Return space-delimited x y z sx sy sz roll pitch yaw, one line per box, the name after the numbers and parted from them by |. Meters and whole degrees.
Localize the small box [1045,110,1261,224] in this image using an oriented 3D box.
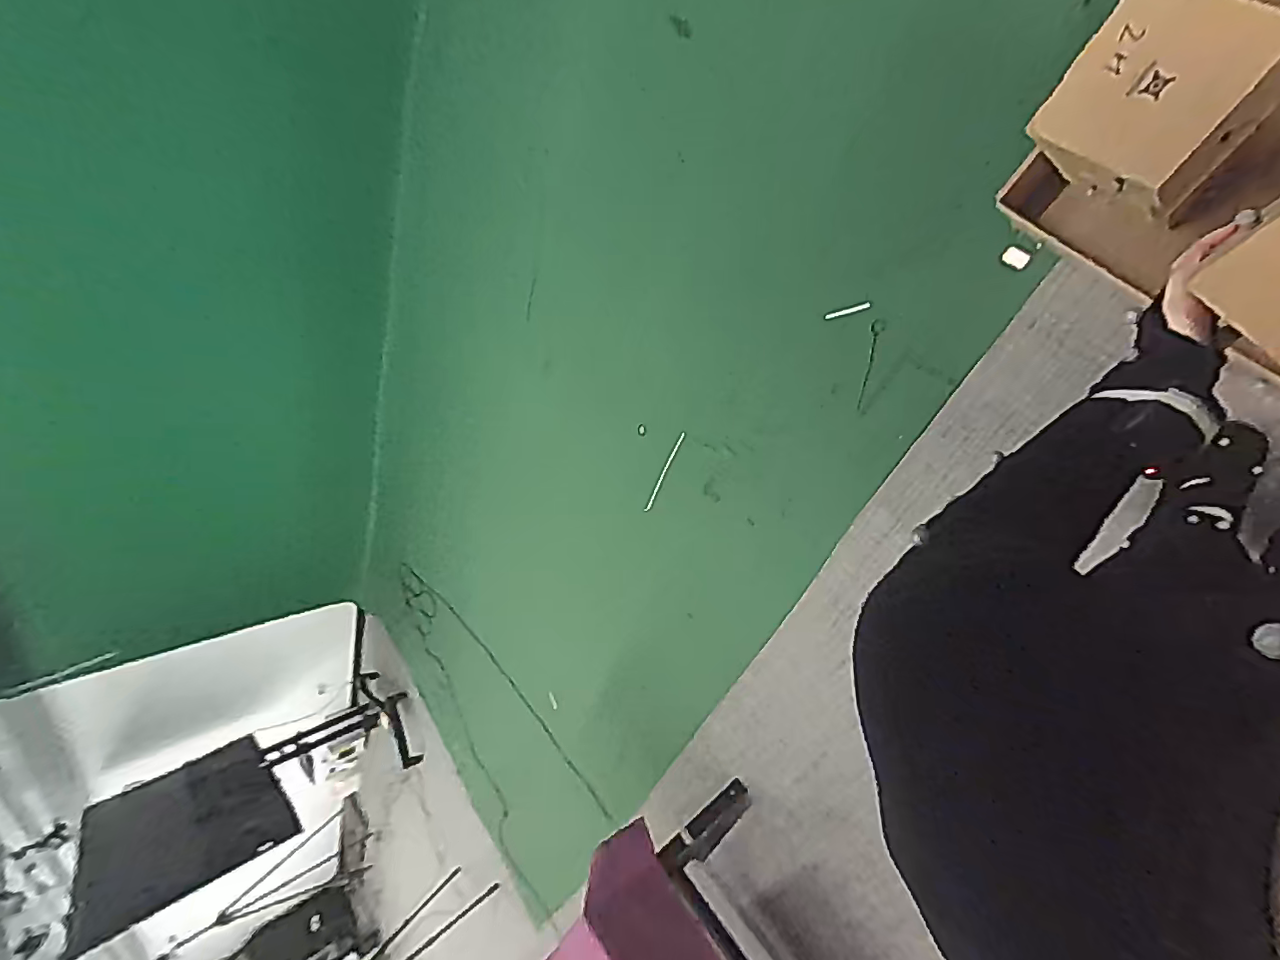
0.748 -0.506 0.793 0.168 0.176 0.179 51 132 24 | small box

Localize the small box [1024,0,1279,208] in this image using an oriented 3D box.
0.639 -0.464 0.676 0.179 0.176 0.168 50 131 24 | small box
